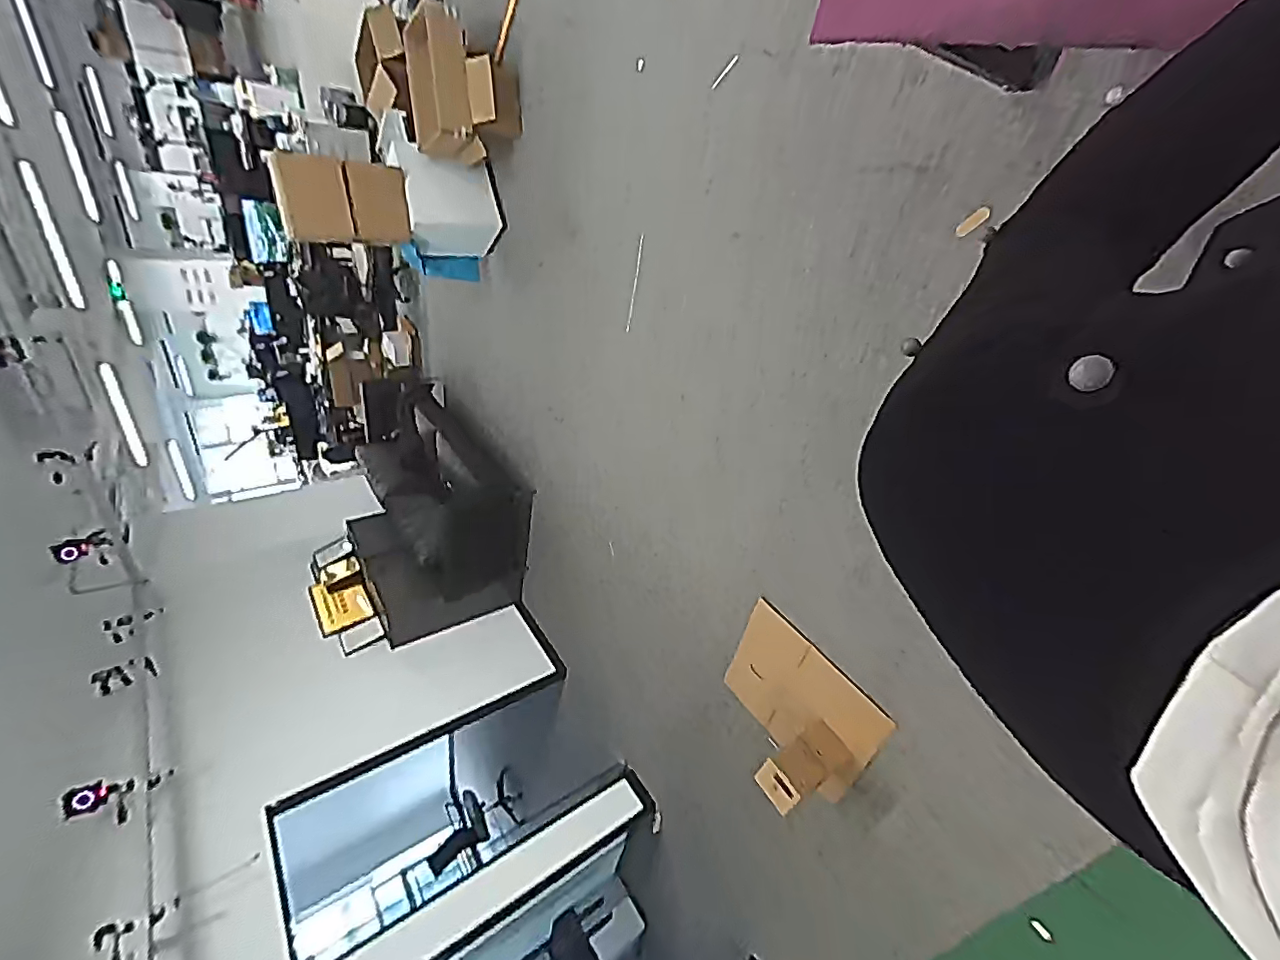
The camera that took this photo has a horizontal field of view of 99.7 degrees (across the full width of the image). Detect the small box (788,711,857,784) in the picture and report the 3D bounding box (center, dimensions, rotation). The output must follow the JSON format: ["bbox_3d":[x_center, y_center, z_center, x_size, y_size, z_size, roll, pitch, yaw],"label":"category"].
[{"bbox_3d":[0.742,1.078,2.189,0.179,0.176,0.168,48,138,35],"label":"small box"}]
